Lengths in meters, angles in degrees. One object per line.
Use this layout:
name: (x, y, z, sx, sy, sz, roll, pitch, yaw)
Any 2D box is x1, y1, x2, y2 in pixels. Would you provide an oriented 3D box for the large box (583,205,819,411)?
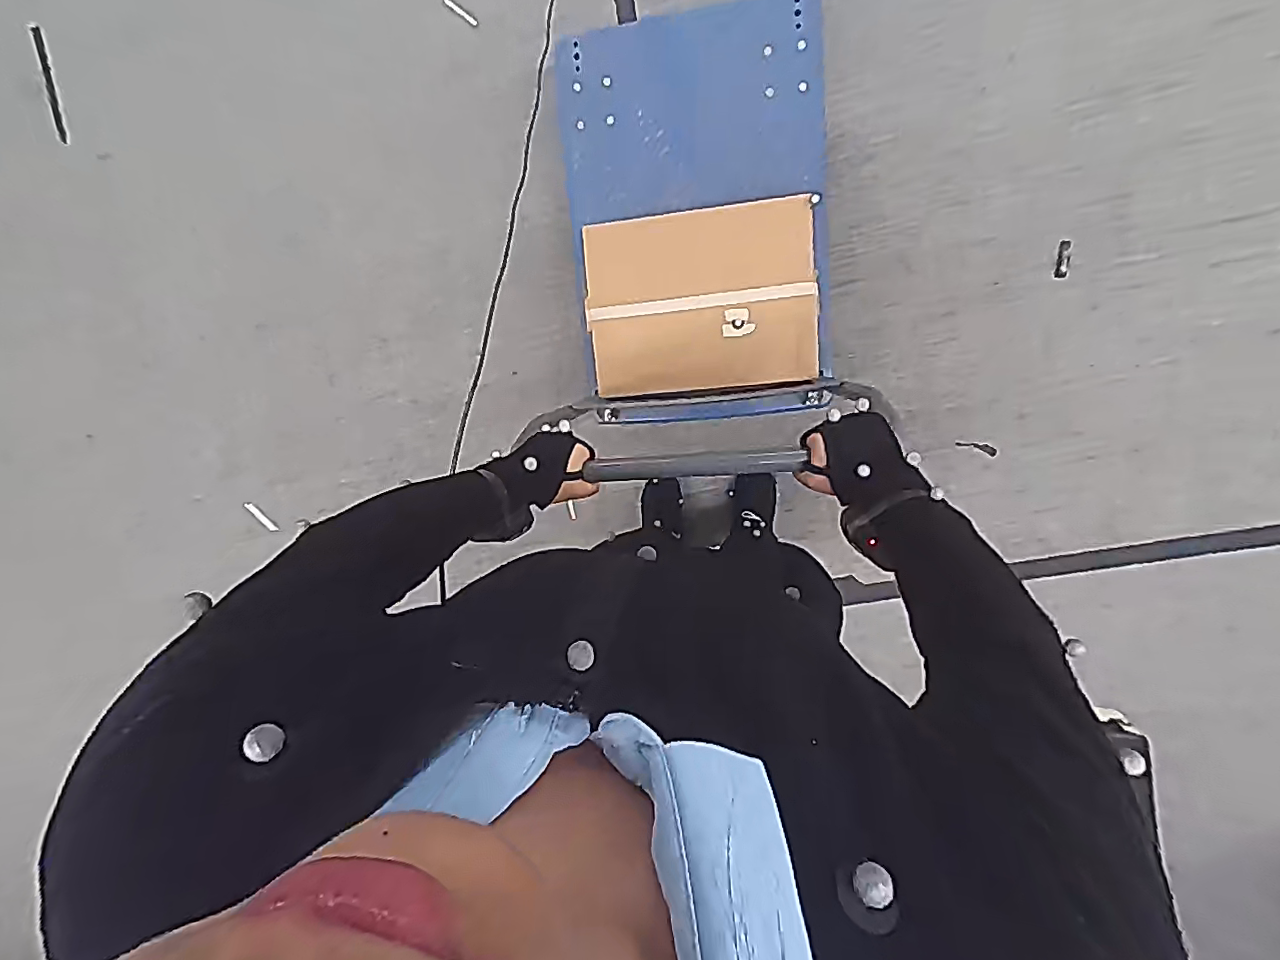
large box: (0.125, -0.318, 1.107, 0.408, 0.320, 0.320, -4, 99, 9)
